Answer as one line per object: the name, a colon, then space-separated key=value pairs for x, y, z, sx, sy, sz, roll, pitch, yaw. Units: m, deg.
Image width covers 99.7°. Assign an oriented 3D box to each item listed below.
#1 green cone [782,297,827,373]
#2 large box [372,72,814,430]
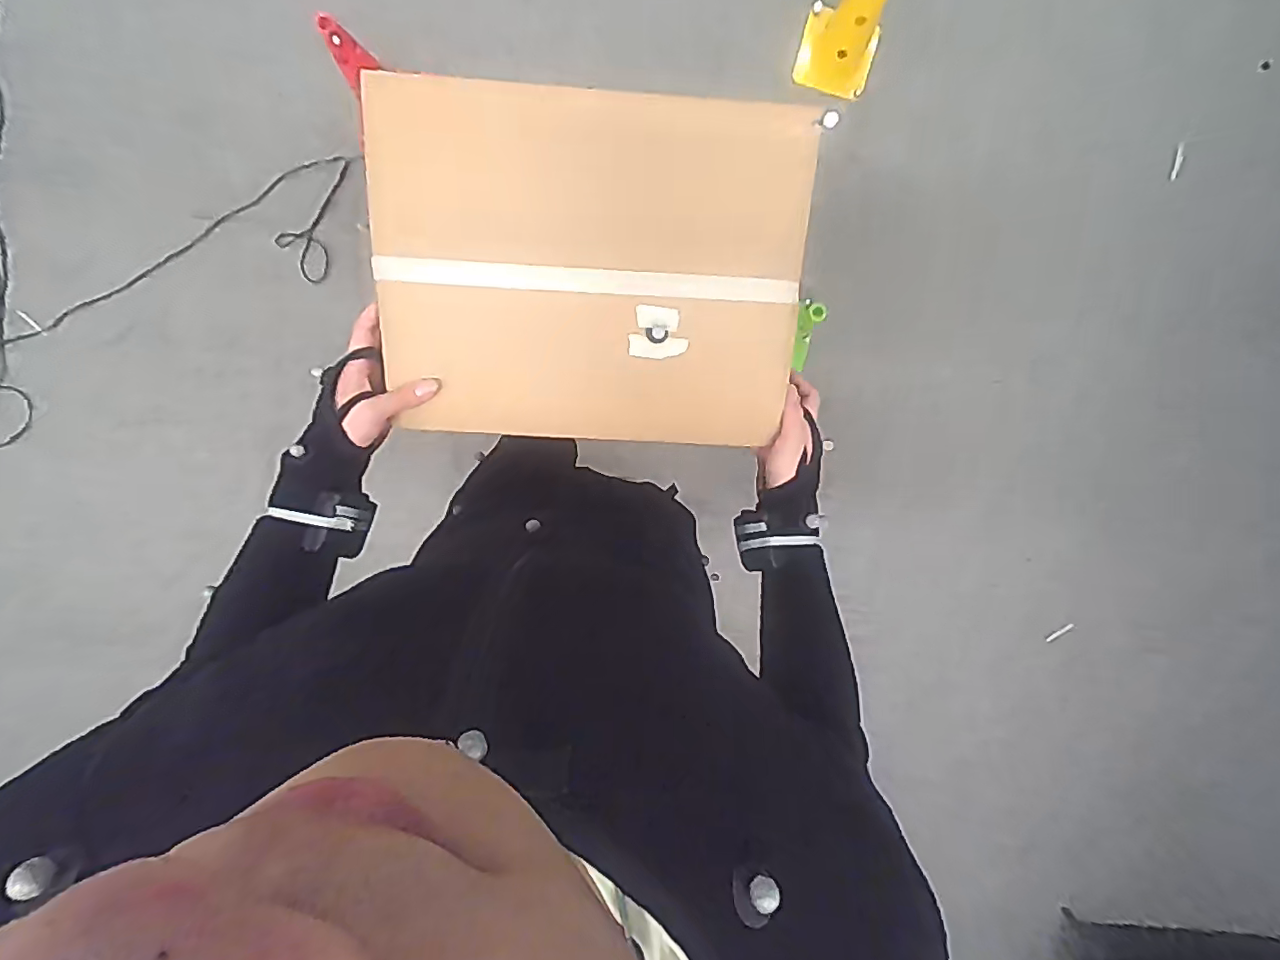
green cone: x=0.397 y=-0.404 z=1.388 sx=0.200 sy=0.368 sz=0.202 roll=12 pitch=96 yaw=-4
large box: x=-0.053 y=-0.248 z=0.668 sx=0.408 sy=0.320 sz=0.320 roll=2 pitch=108 yaw=-3
